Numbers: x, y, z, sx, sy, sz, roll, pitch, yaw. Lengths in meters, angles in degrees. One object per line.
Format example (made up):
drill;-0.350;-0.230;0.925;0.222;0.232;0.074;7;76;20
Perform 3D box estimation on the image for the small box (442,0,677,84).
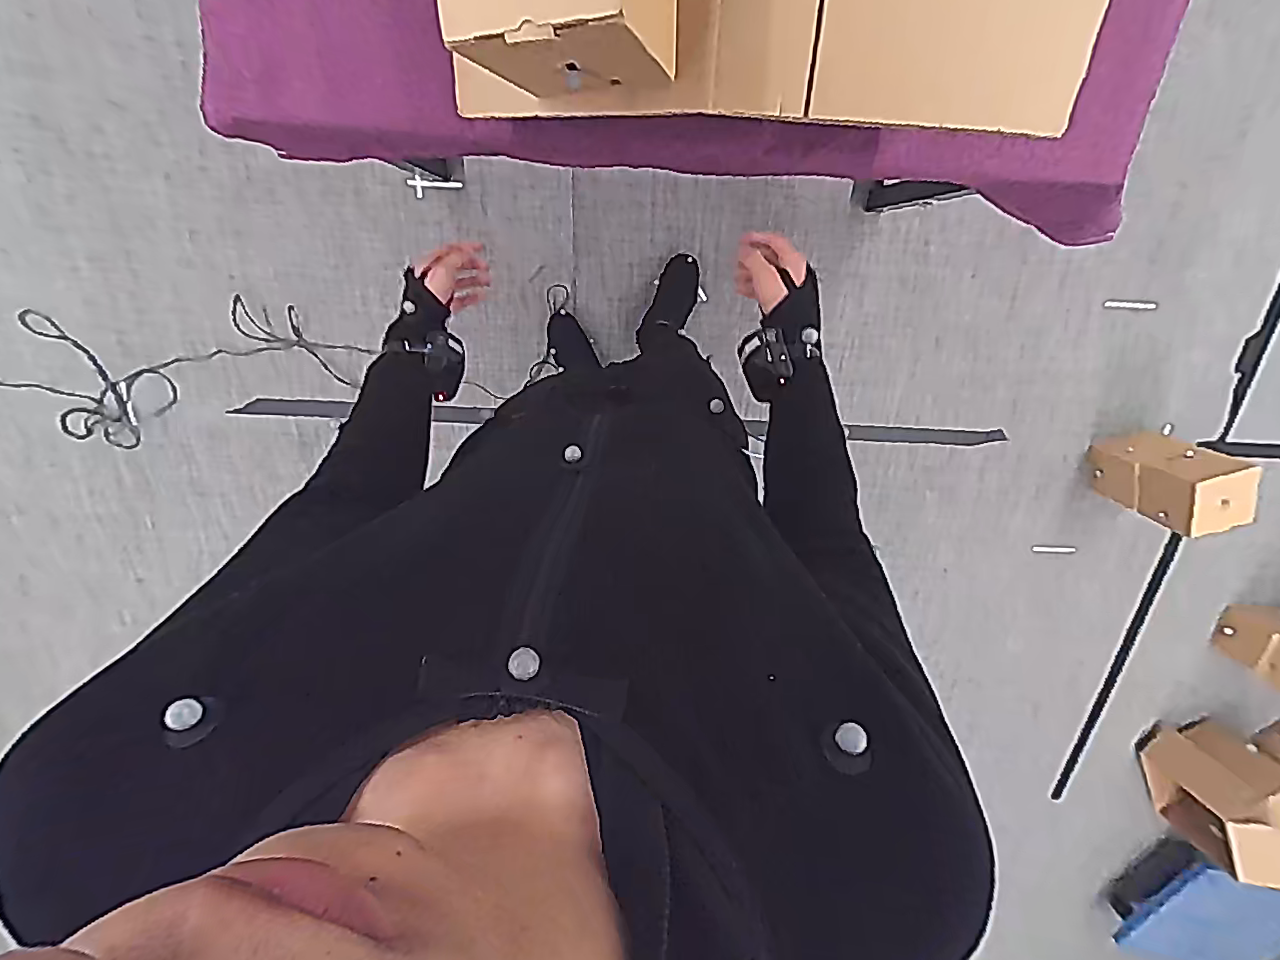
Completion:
small box;-0.064;-0.475;0.479;0.168;0.176;0.179;6;114;16
